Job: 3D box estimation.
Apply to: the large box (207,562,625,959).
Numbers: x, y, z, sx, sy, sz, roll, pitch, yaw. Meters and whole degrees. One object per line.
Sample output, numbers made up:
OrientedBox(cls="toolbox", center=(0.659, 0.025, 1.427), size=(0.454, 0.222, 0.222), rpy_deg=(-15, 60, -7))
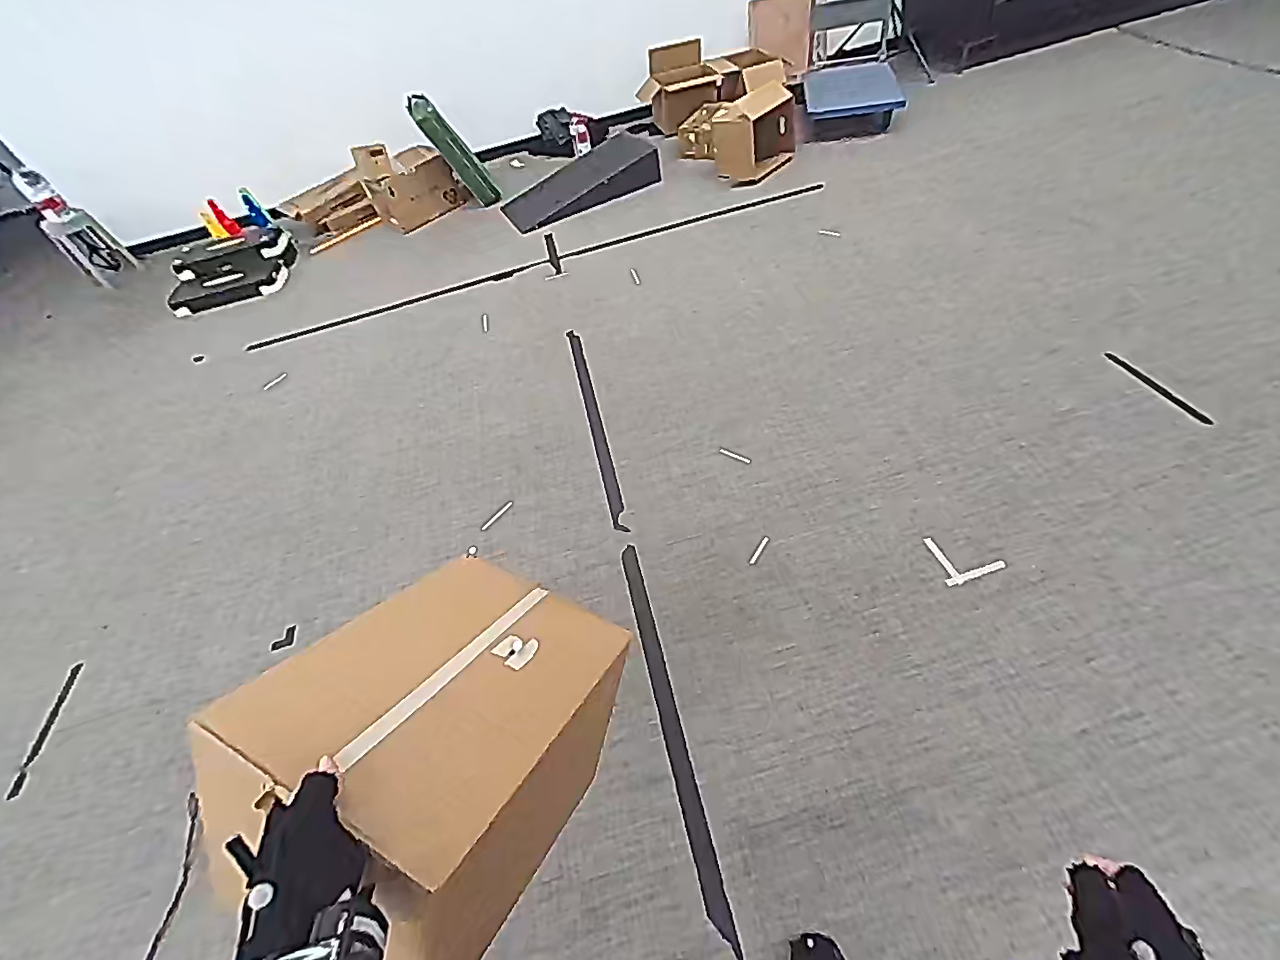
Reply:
OrientedBox(cls="large box", center=(-0.263, 0.374, 0.730), size=(0.320, 0.320, 0.408), rpy_deg=(22, 23, 17))
